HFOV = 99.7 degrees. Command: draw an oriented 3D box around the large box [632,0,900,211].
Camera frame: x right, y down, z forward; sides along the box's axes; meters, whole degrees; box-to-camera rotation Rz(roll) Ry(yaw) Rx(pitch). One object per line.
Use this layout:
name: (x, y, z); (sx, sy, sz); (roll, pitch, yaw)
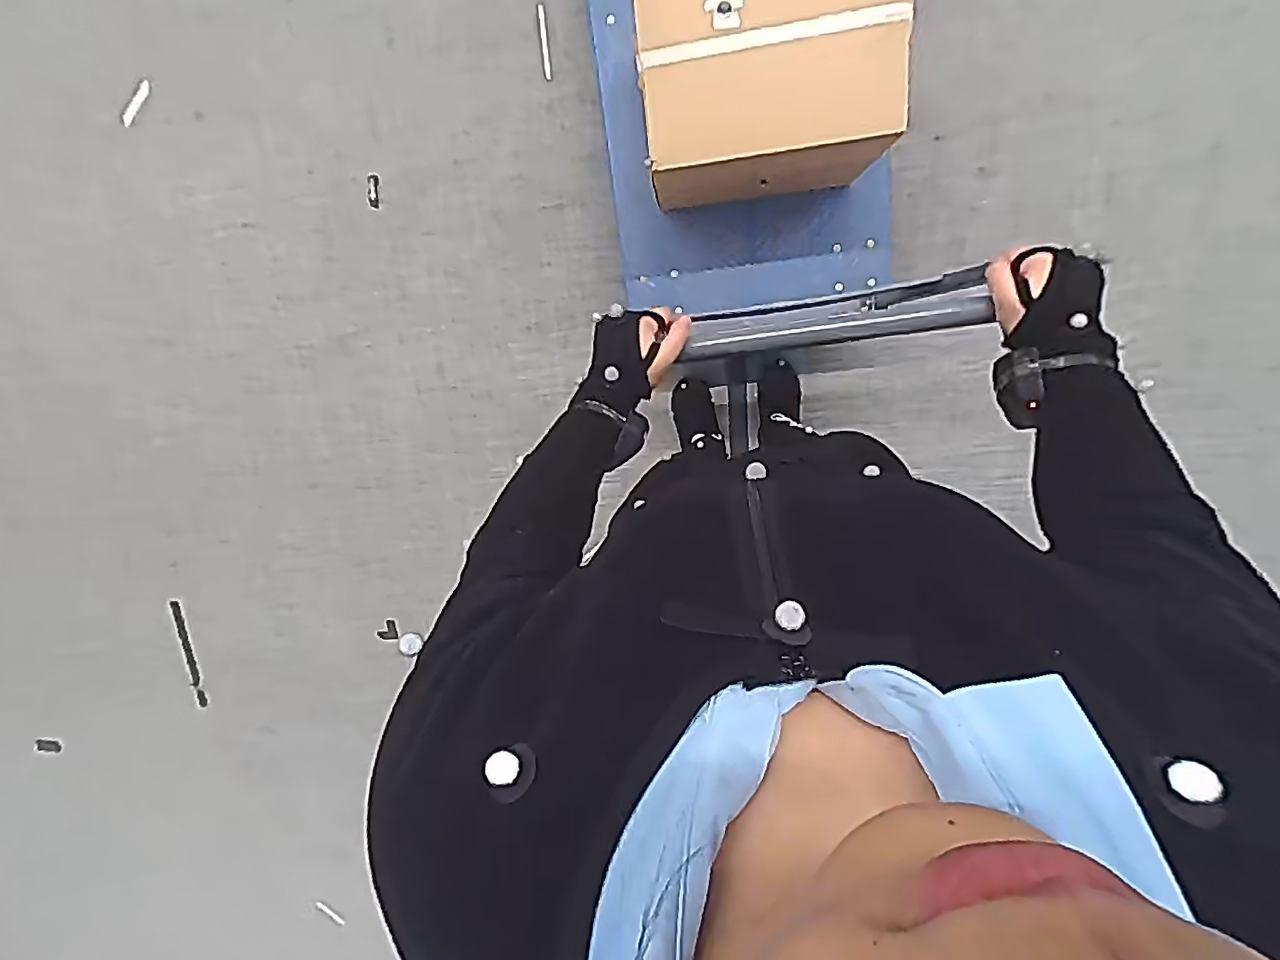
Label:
large box: (0.214, -0.717, 0.987); (0.408, 0.320, 0.320); (-6, 103, 8)
